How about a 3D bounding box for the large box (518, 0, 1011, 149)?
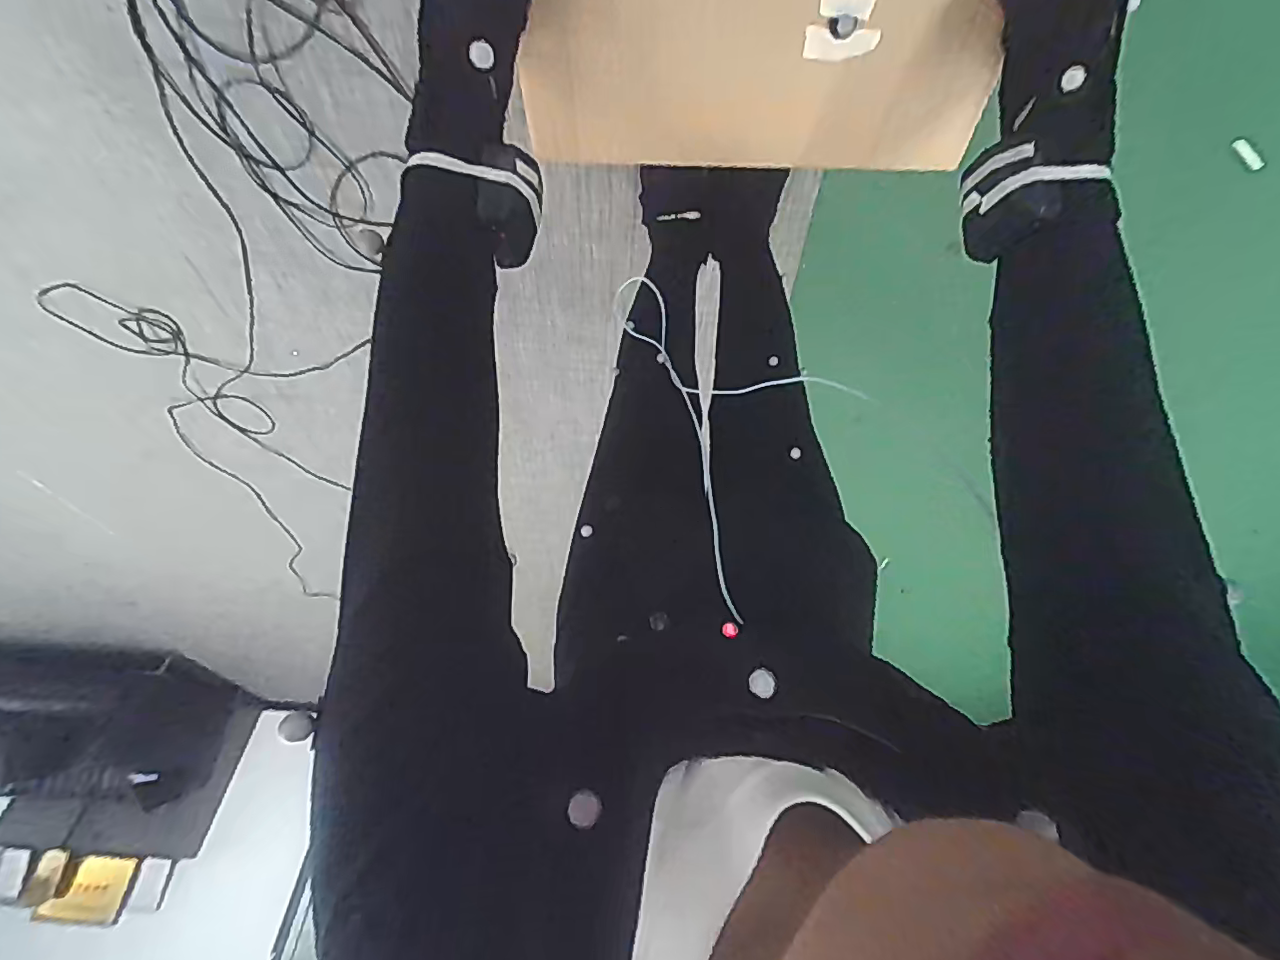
[{"bbox_3d":[0.104,-0.532,0.490,0.408,0.320,0.320,3,144,3],"label":"large box"}]
